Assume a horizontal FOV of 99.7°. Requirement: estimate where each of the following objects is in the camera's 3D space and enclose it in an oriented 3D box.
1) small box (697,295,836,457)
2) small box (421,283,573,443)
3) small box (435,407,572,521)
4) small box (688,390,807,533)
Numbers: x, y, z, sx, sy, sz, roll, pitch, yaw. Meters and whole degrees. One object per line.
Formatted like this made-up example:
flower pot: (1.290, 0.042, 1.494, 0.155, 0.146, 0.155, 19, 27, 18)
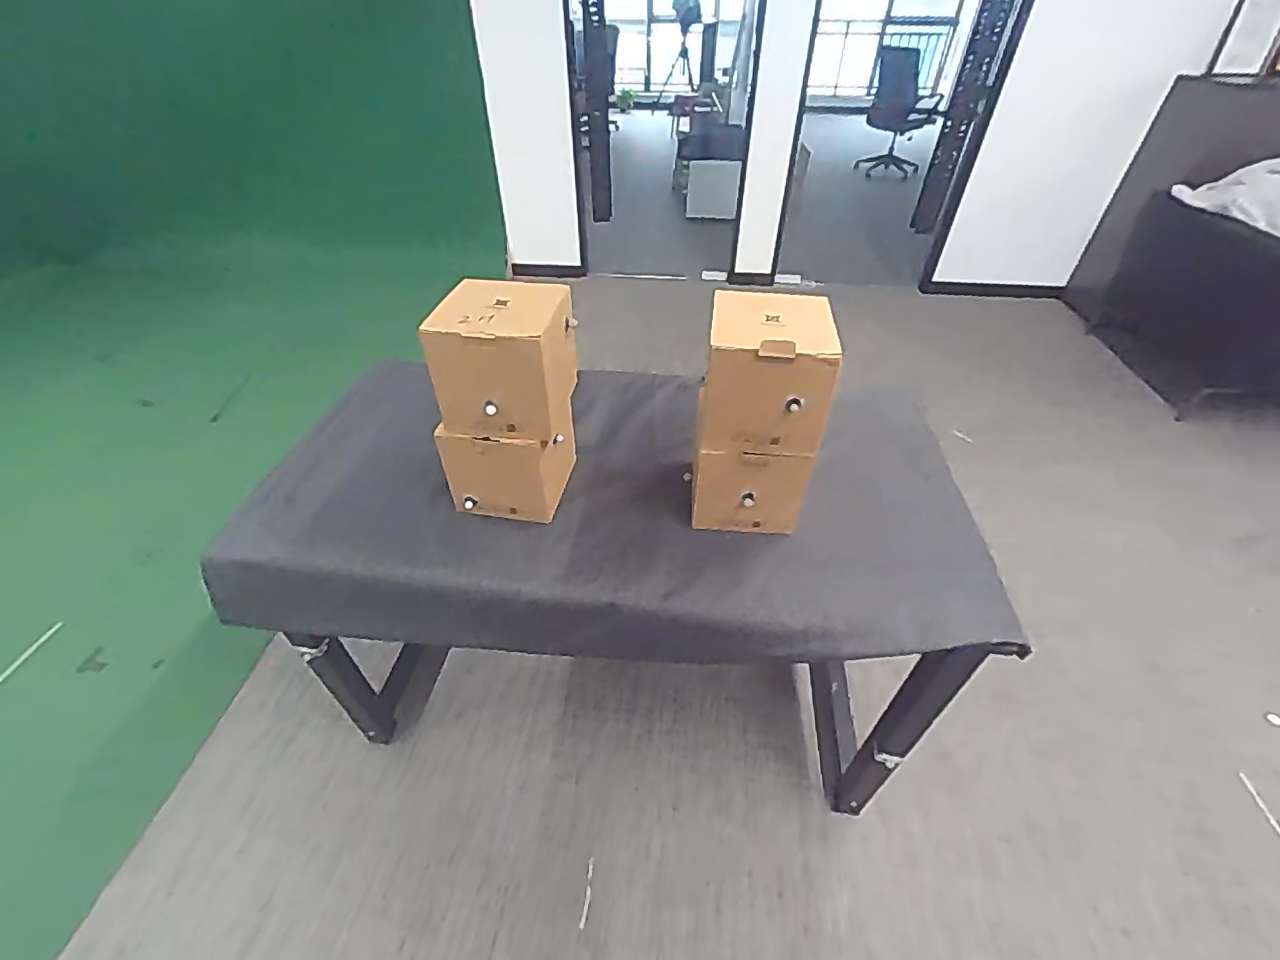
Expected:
small box: (0.174, -0.152, 0.791, 0.168, 0.176, 0.179, 6, 41, 5)
small box: (-0.199, -0.178, 0.814, 0.168, 0.176, 0.179, 4, 41, 5)
small box: (-0.217, -0.050, 0.918, 0.168, 0.176, 0.179, 7, 41, 7)
small box: (0.169, -0.030, 0.899, 0.168, 0.176, 0.179, 3, 42, 3)
